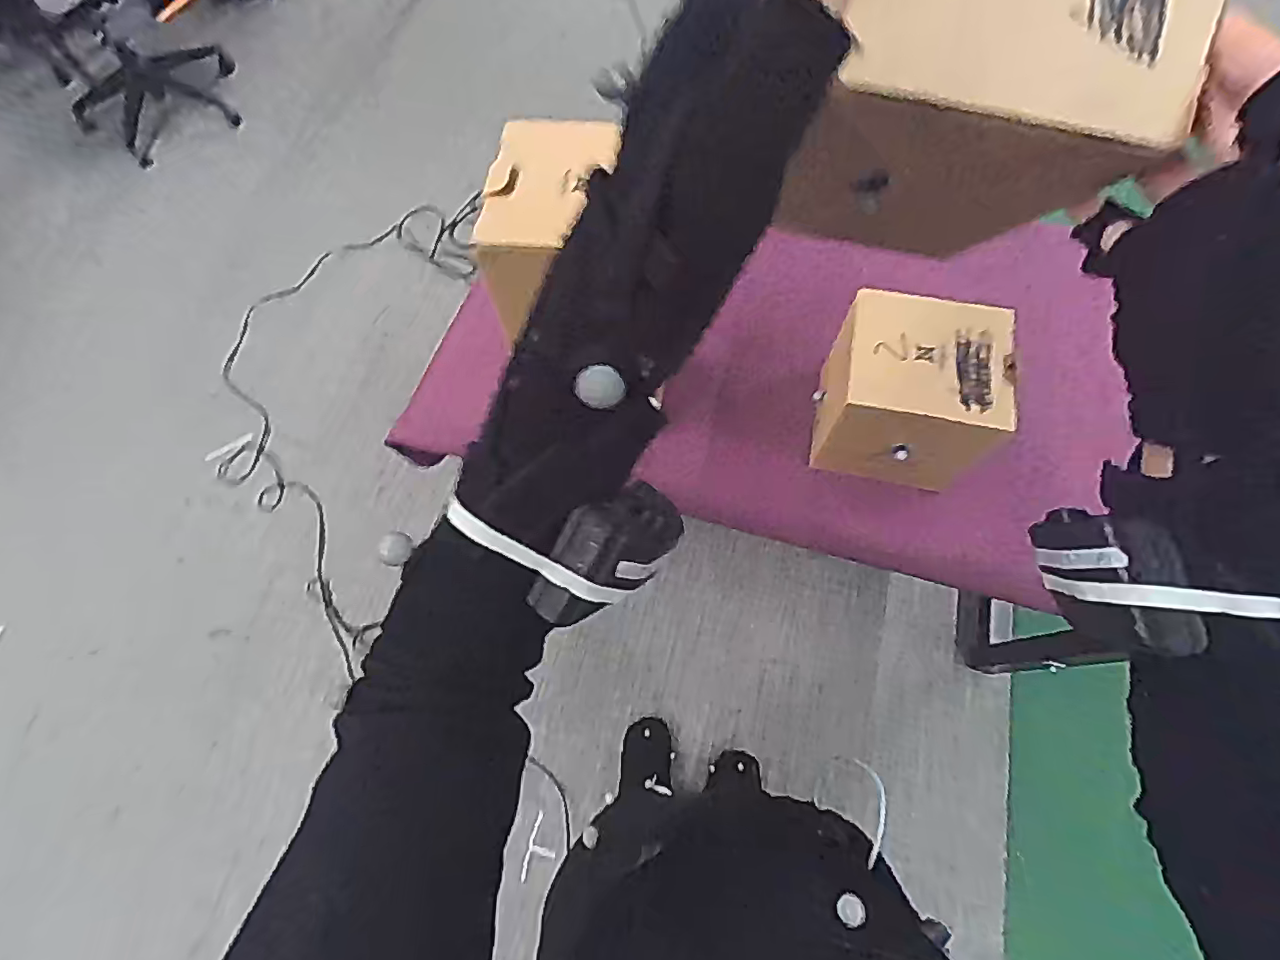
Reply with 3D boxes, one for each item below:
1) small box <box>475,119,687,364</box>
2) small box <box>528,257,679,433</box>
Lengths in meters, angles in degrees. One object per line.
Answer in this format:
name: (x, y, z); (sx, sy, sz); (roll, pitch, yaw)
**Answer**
small box: (-0.049, -0.240, 0.573); (0.179, 0.176, 0.168); (6, 67, 3)
small box: (-0.046, -0.188, 0.727); (0.168, 0.176, 0.179); (10, 68, 6)
